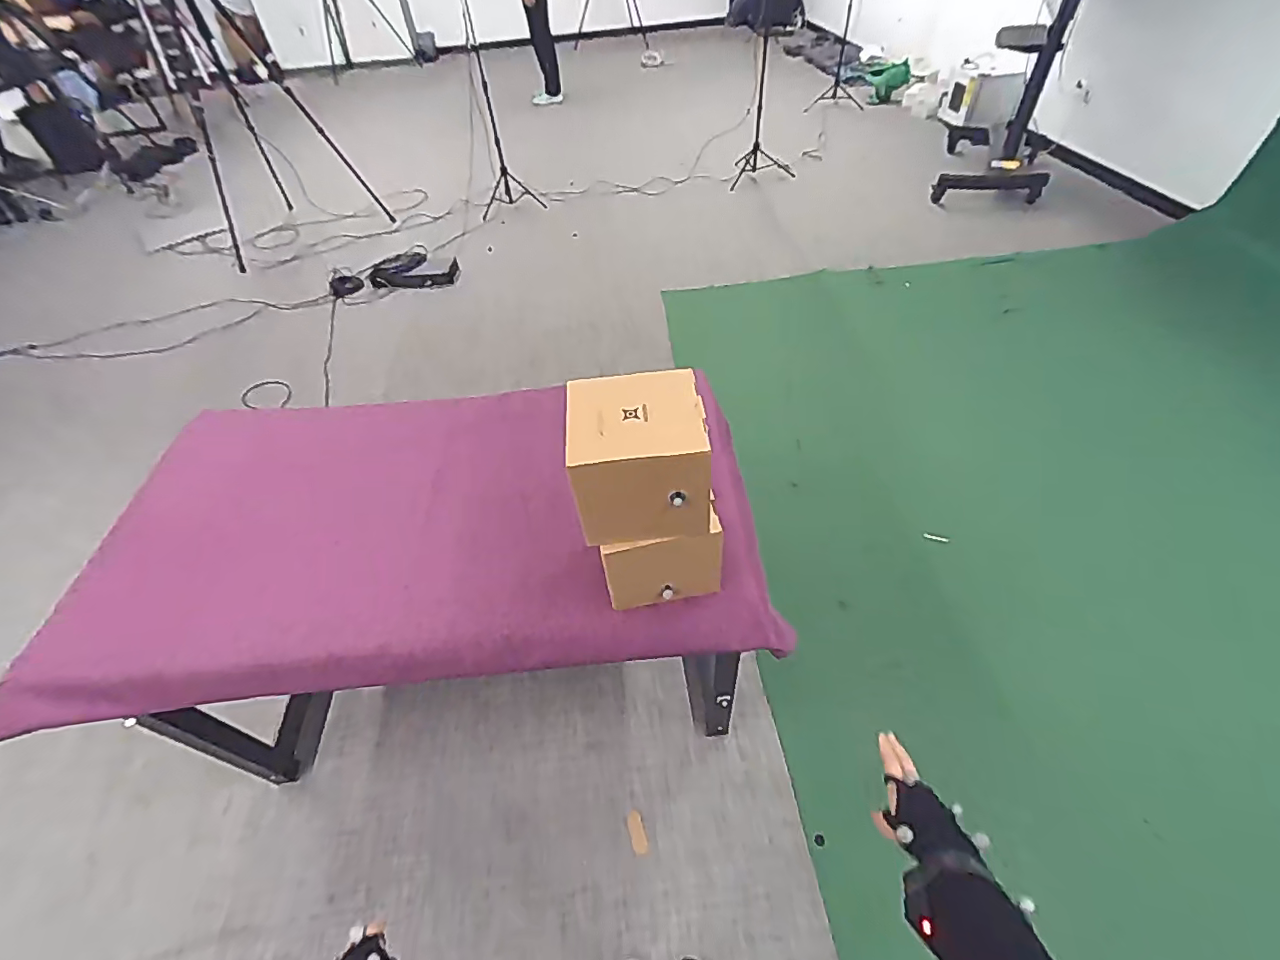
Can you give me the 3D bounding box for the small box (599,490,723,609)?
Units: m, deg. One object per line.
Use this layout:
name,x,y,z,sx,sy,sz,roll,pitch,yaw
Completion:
small box,0.023,0.084,0.862,0.179,0.176,0.168,-10,48,-3

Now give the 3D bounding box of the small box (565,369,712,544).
small box,-0.001,-0.029,0.746,0.179,0.176,0.168,-6,48,1
